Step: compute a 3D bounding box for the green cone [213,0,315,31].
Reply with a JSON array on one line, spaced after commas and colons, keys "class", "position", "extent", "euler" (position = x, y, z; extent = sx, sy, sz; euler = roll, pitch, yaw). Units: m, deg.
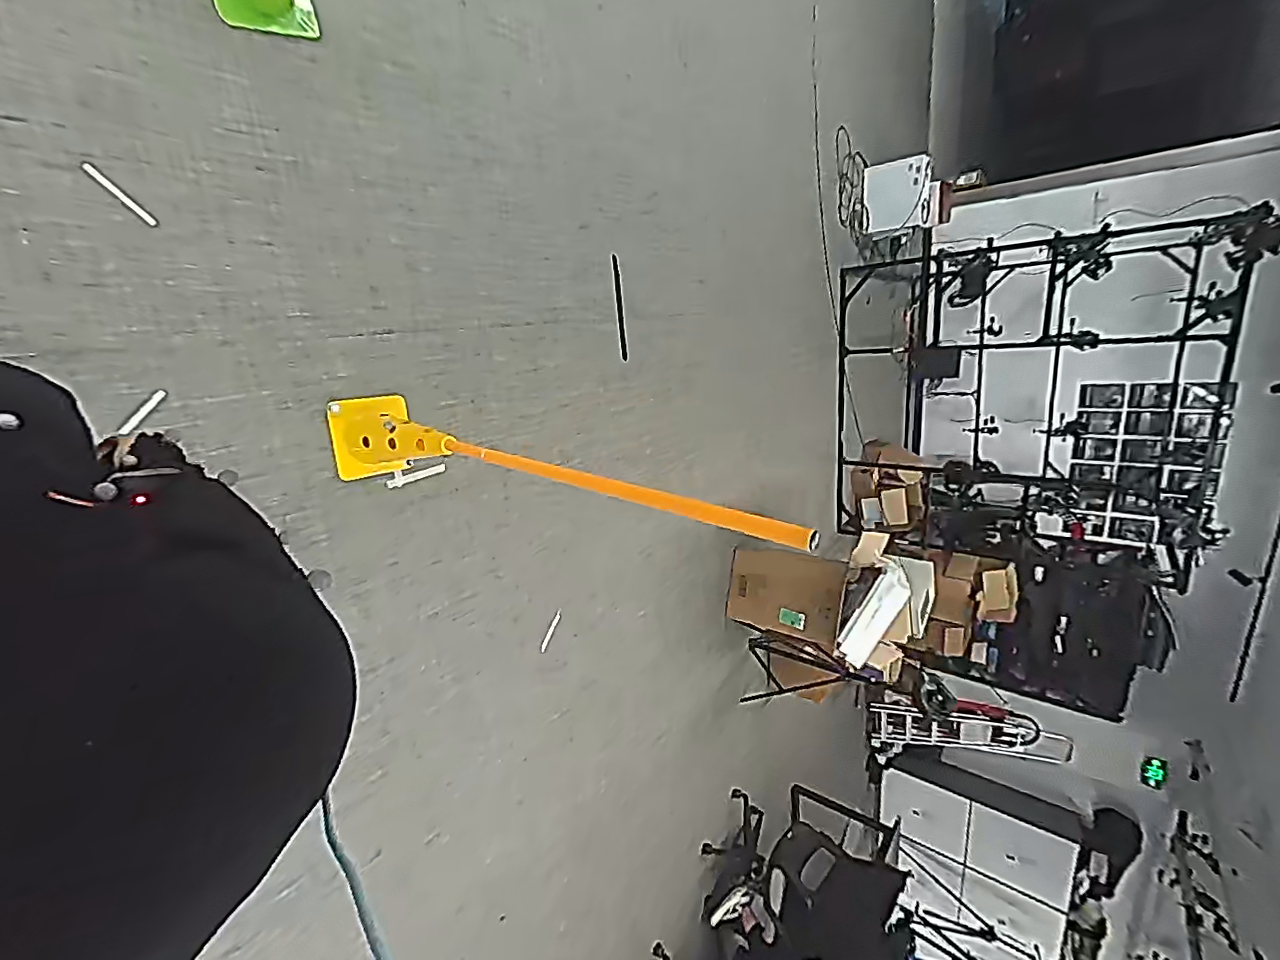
[{"class": "green cone", "position": [-0.653, -1.020, 0.989], "extent": [0.200, 0.368, 0.202], "euler": [-35, 124, -43]}]
